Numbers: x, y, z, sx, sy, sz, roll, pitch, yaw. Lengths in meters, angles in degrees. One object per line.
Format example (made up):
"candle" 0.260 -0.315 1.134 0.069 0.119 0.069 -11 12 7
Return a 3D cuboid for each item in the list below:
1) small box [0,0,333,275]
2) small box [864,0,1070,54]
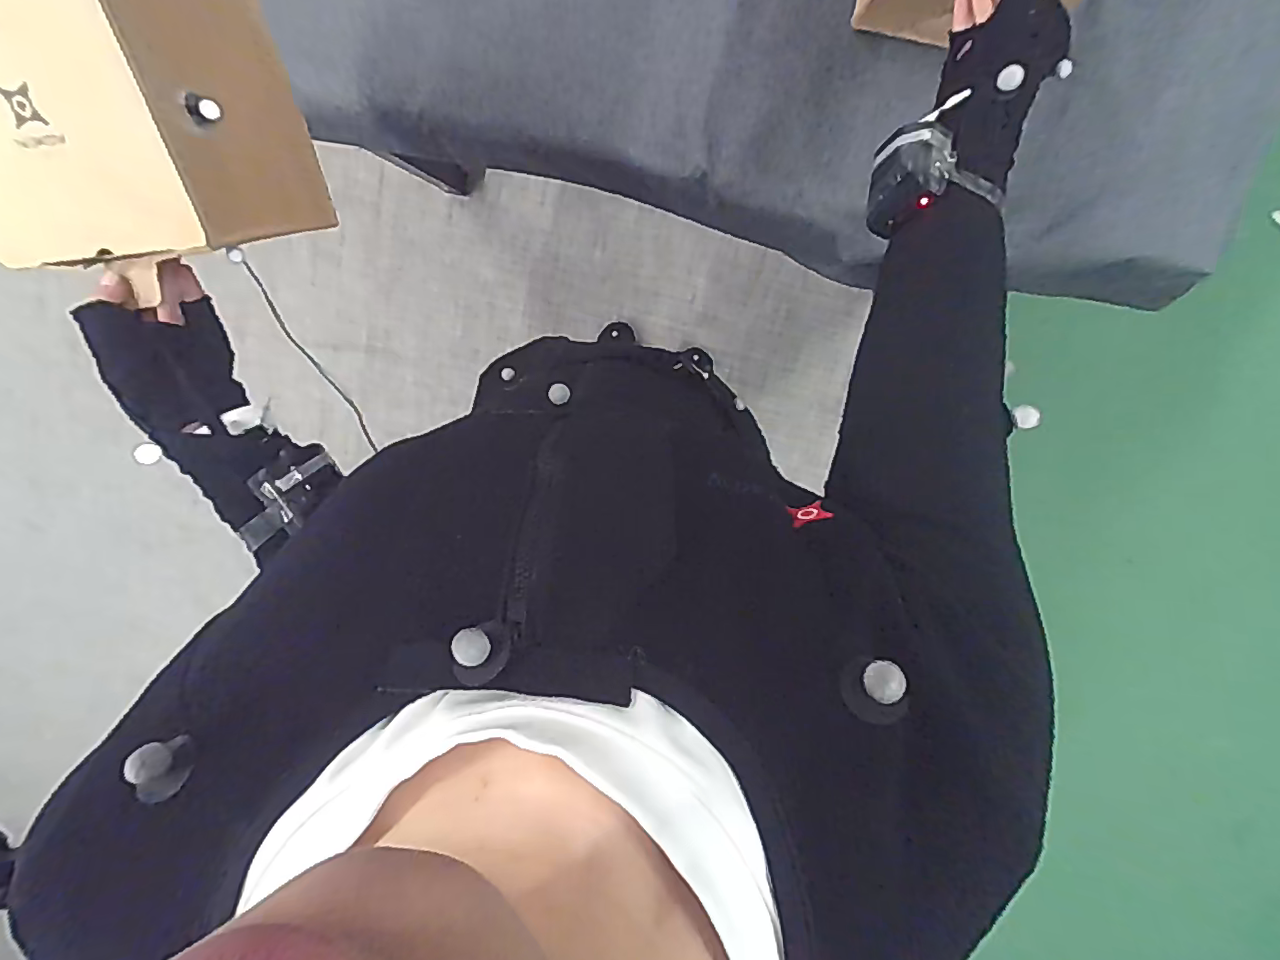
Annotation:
"small box" -0.372 -0.266 0.404 0.168 0.176 0.179 -4 119 6
"small box" 0.311 -0.505 0.456 0.168 0.176 0.179 11 107 -1
